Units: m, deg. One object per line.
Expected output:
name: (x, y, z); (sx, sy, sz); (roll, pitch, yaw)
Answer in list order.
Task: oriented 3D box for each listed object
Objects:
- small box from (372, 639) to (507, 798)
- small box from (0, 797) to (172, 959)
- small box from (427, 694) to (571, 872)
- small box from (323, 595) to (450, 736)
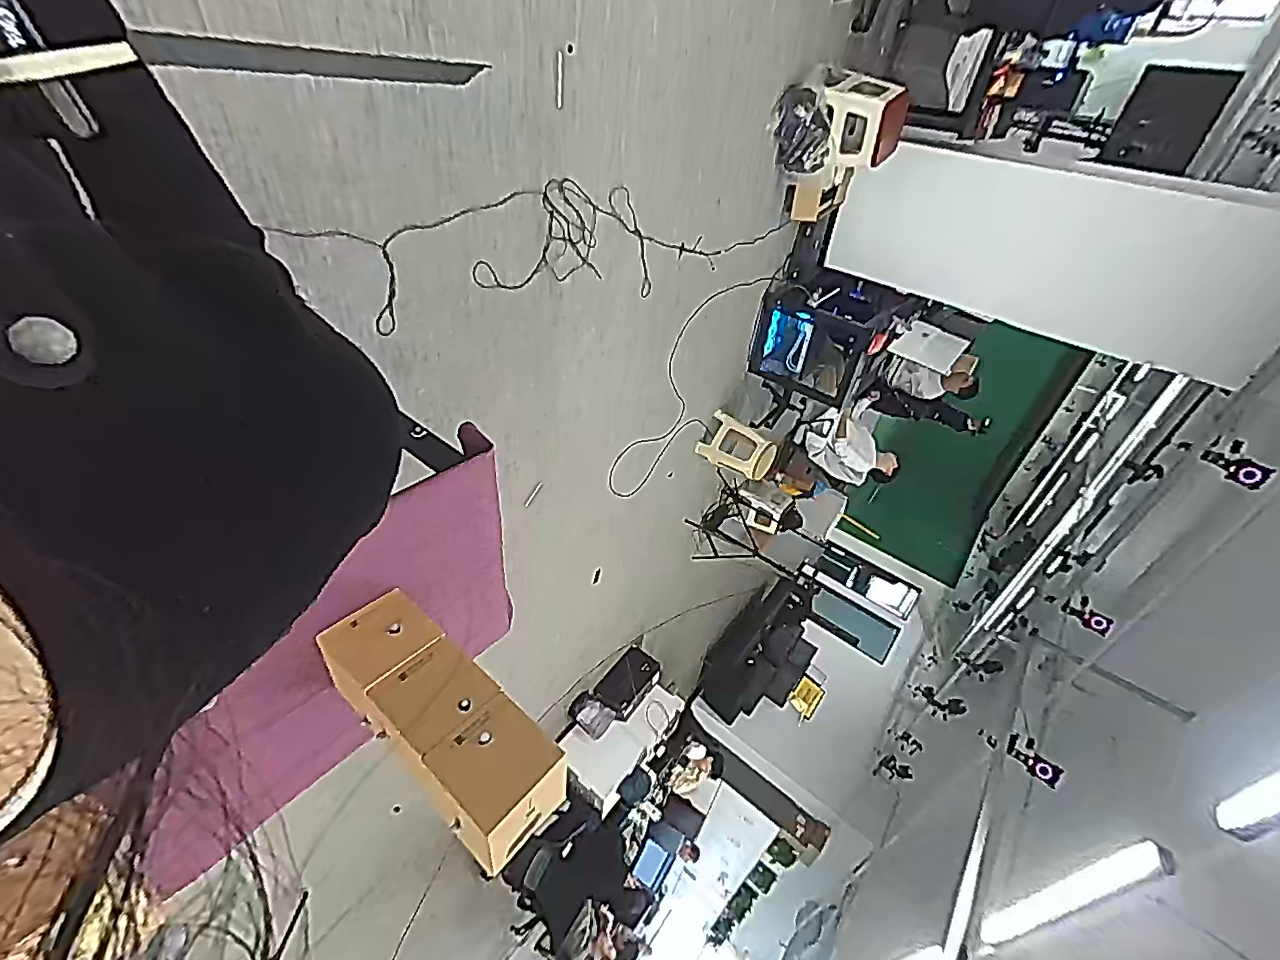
small box: (-0.363, 0.431, 0.997); (0.168, 0.176, 0.179); (-35, 146, -41)
small box: (-0.802, 0.587, 0.747); (0.168, 0.176, 0.179); (-32, 142, -45)
small box: (-0.237, 0.506, 0.921); (0.168, 0.176, 0.179); (-35, 144, -41)
small box: (-0.490, 0.353, 1.065); (0.168, 0.176, 0.179); (-35, 145, -41)
